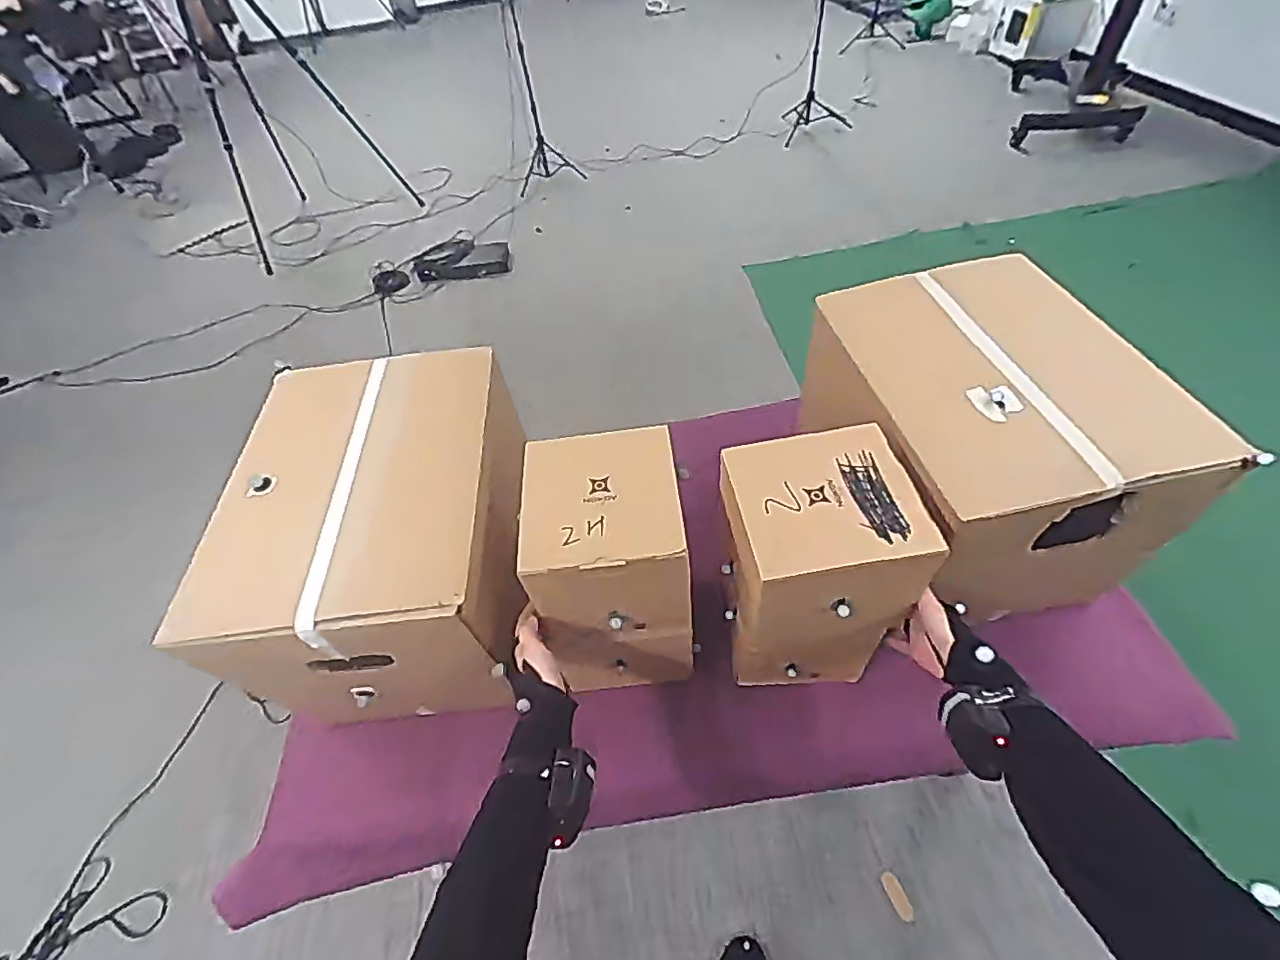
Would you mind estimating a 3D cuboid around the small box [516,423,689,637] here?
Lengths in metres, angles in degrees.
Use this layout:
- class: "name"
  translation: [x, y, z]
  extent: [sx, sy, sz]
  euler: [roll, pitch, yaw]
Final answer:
- class: "small box"
  translation: [-0.035, 0.060, 0.626]
  extent: [0.168, 0.176, 0.179]
  euler: [-7, 50, 2]

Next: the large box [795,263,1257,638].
- class: "large box"
  translation: [0.452, -0.044, 0.775]
  extent: [0.320, 0.320, 0.408]
  euler: [-12, 52, 0]
